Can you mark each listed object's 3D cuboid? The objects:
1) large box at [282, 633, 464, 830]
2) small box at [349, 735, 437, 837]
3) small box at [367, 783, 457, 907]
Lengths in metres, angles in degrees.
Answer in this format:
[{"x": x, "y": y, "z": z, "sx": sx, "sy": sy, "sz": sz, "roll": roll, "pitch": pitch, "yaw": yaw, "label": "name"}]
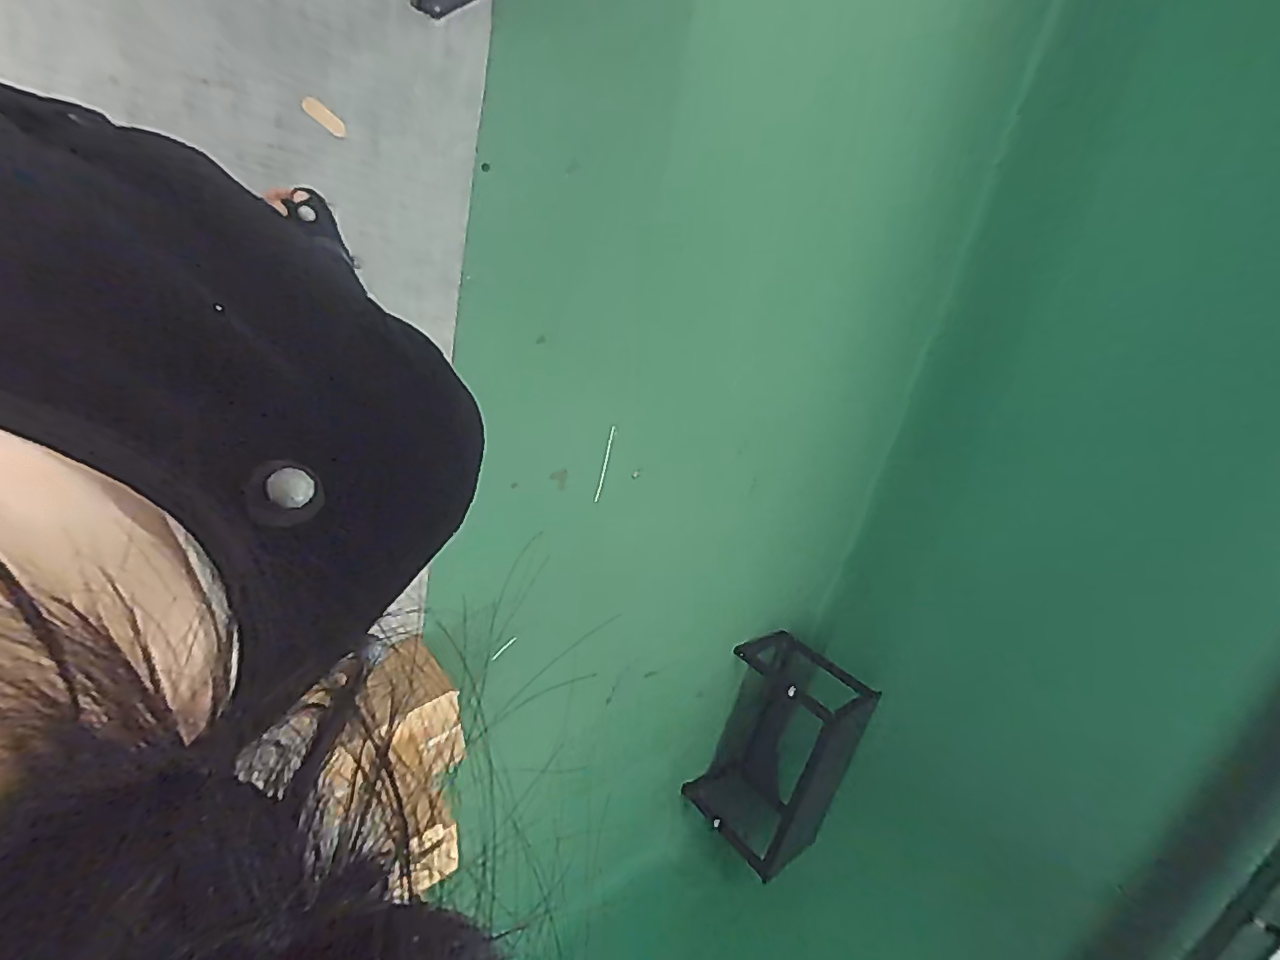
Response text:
[{"x": -0.817, "y": 0.753, "z": 1.679, "sx": 0.408, "sy": 0.320, "sz": 0.320, "roll": -20, "pitch": 126, "yaw": -37, "label": "large box"}, {"x": -0.681, "y": 0.852, "z": 1.499, "sx": 0.179, "sy": 0.176, "sz": 0.168, "roll": -15, "pitch": 121, "yaw": -37, "label": "small box"}, {"x": -0.584, "y": 0.919, "z": 1.385, "sx": 0.168, "sy": 0.176, "sz": 0.179, "roll": -13, "pitch": 120, "yaw": -39, "label": "small box"}]
